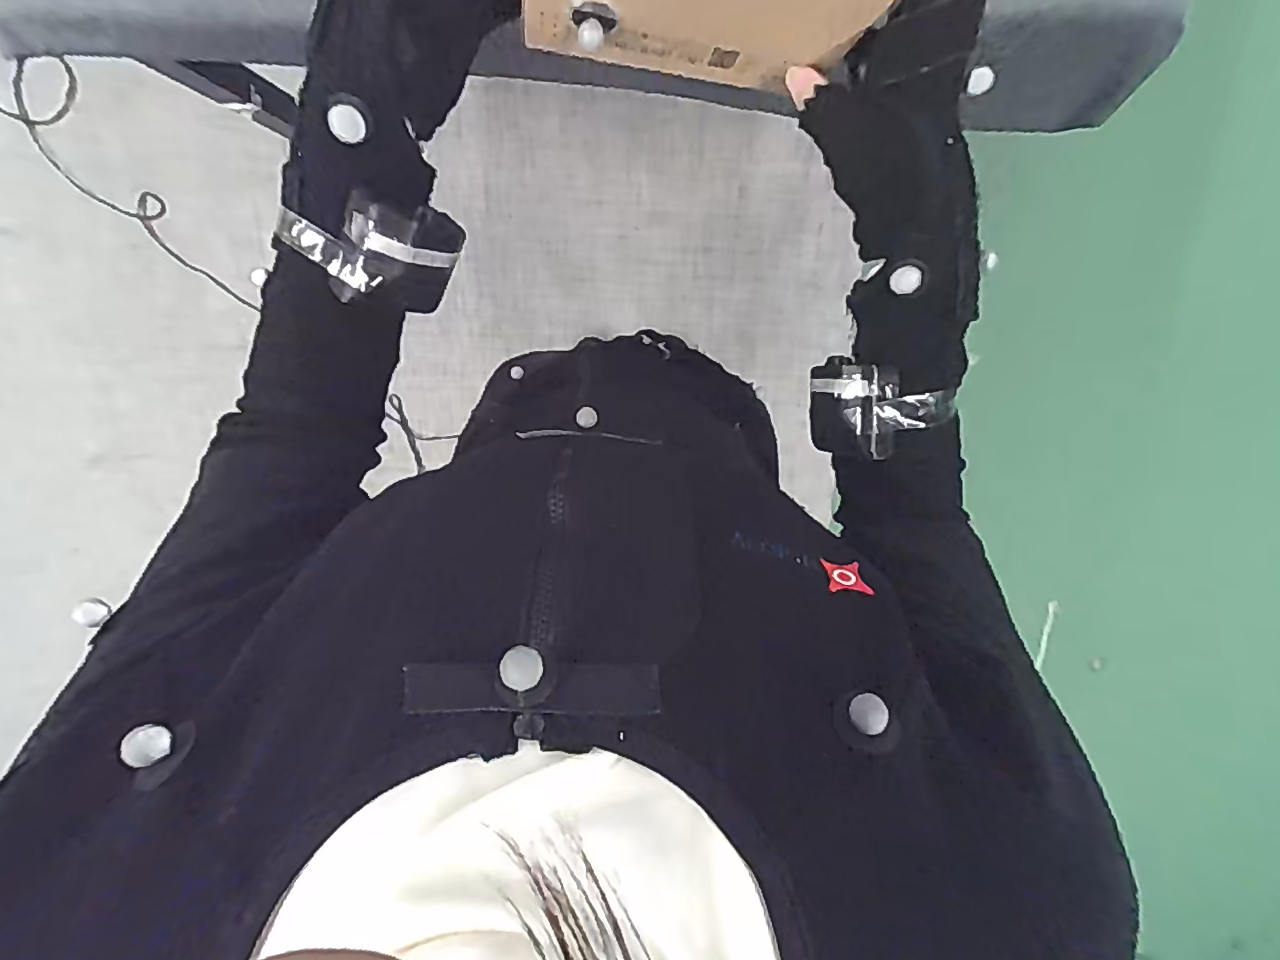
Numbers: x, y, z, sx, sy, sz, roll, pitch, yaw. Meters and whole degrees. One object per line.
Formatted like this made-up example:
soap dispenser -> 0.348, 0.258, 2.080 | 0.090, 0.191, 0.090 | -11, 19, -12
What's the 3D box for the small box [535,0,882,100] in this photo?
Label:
small box -> 0.042, -0.303, 0.224 | 0.168, 0.176, 0.179 | 1, 95, -14
